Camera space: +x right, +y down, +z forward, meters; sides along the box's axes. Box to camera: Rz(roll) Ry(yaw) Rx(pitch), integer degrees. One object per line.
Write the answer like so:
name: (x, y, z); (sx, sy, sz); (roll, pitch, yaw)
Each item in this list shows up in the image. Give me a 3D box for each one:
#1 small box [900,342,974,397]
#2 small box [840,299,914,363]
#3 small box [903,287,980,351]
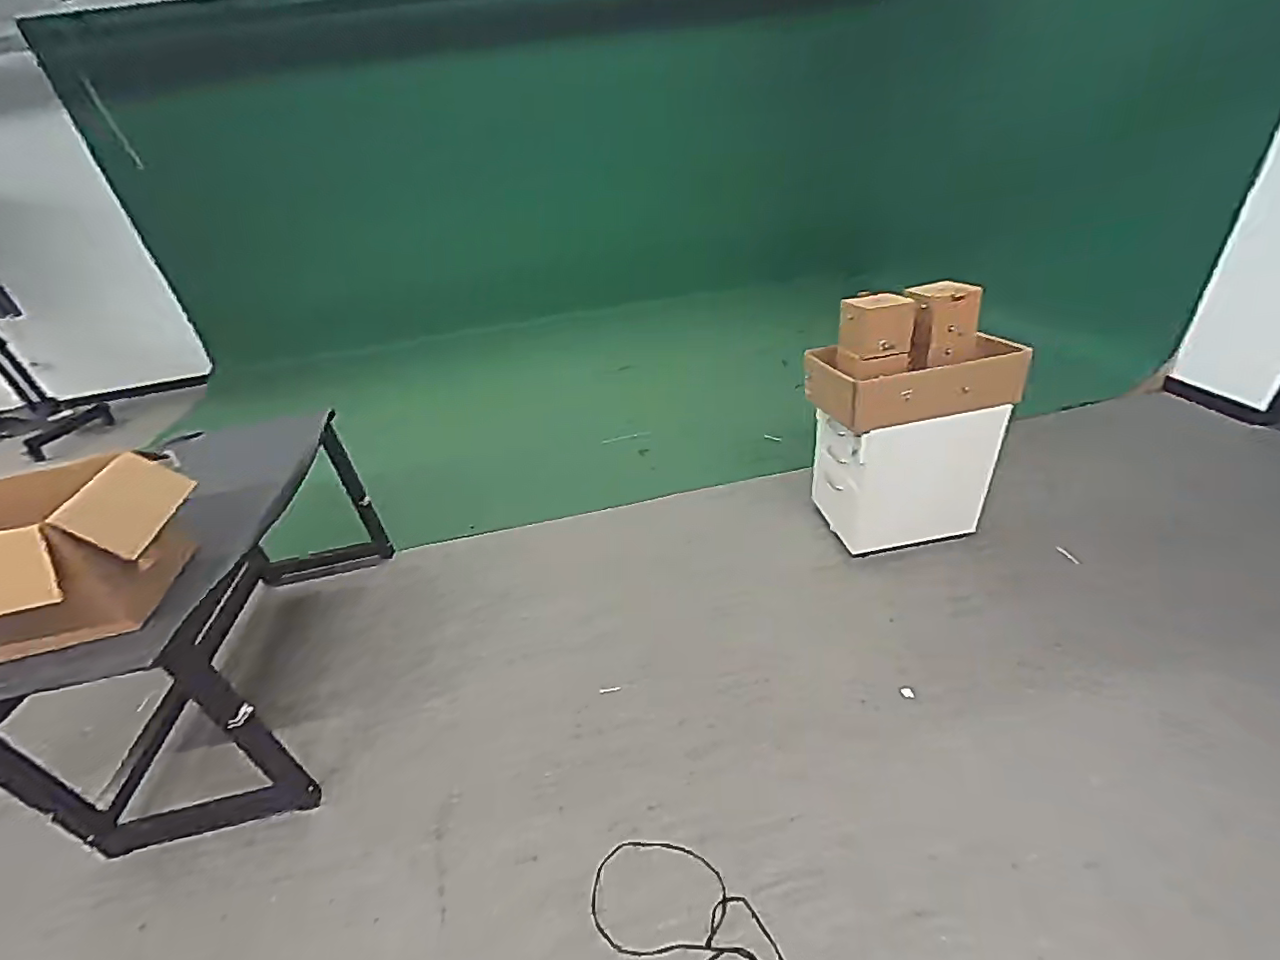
small box: (1.052, -0.410, 1.932); (0.168, 0.176, 0.179); (-13, 27, -3)
small box: (0.795, -0.505, 1.833); (0.168, 0.176, 0.179); (-12, 28, -5)
small box: (1.023, -0.553, 1.859); (0.168, 0.176, 0.179); (-13, 29, -4)
